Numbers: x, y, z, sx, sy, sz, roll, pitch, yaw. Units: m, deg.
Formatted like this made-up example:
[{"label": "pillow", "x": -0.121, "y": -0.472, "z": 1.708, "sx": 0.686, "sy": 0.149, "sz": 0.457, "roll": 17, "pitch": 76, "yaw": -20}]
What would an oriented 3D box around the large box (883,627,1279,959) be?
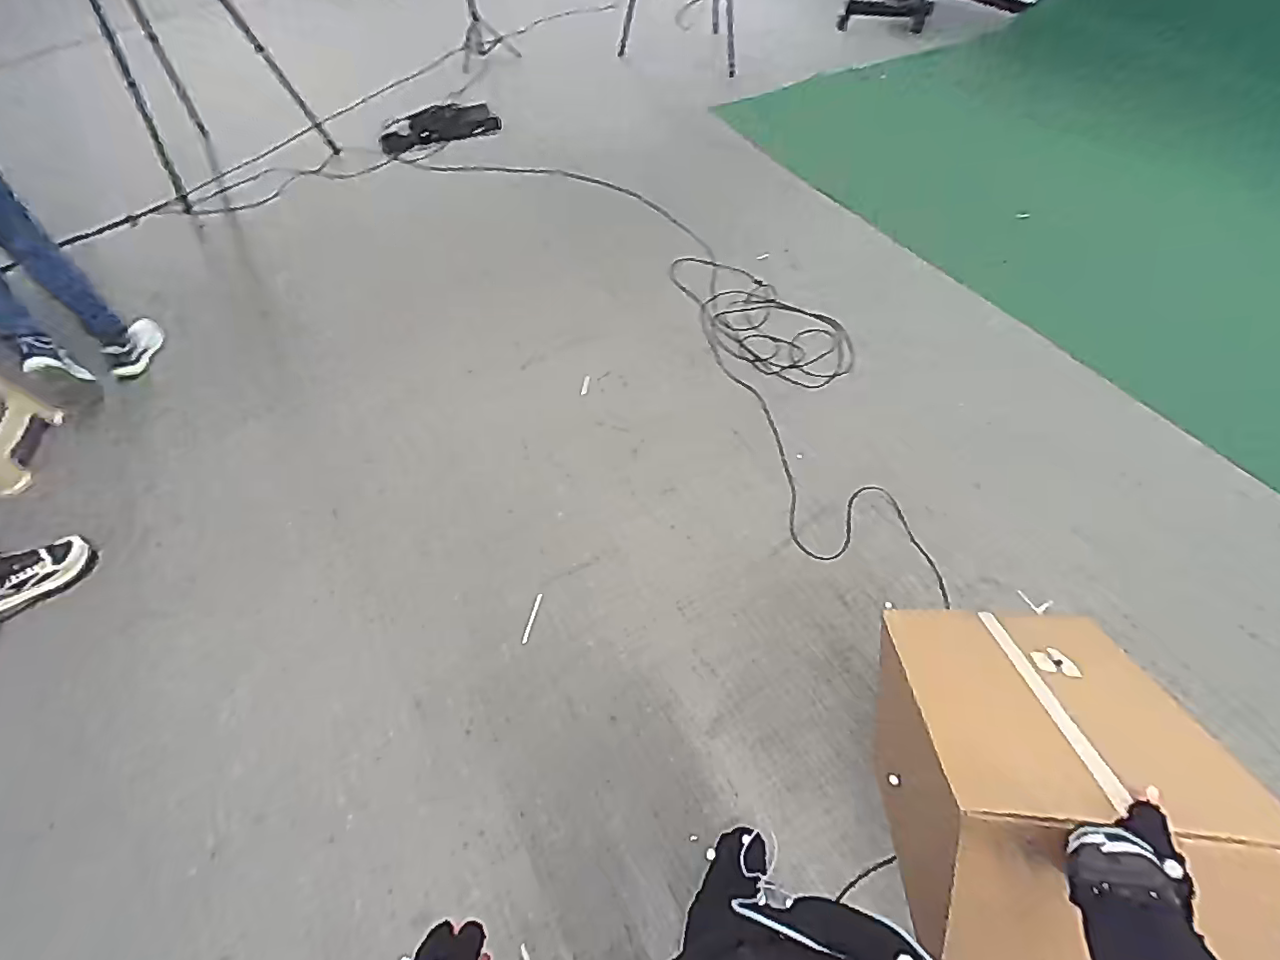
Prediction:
[{"label": "large box", "x": 0.549, "y": 0.454, "z": 0.756, "sx": 0.320, "sy": 0.320, "sz": 0.408, "roll": 1, "pitch": 17, "yaw": 13}]
